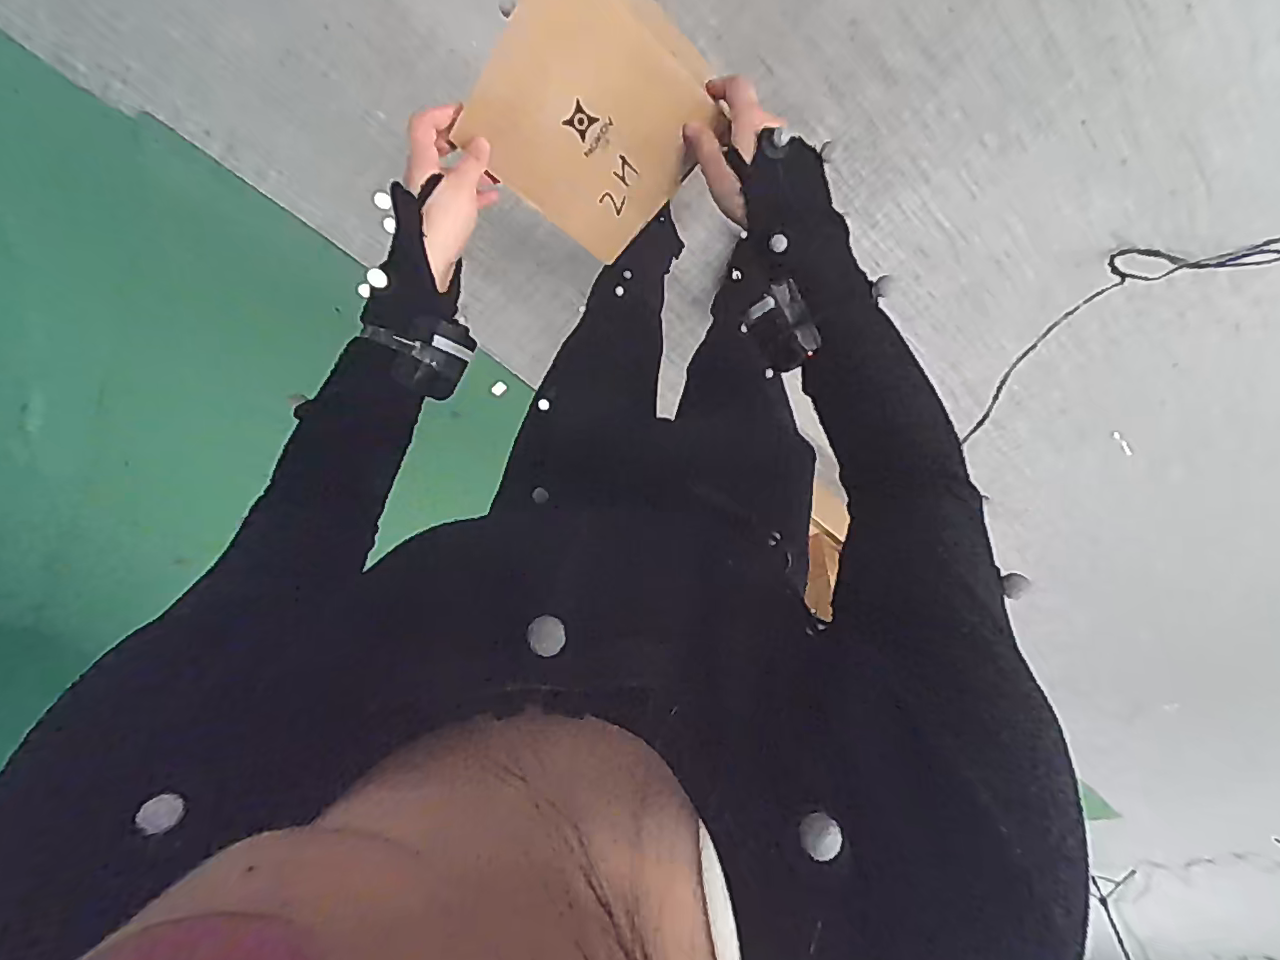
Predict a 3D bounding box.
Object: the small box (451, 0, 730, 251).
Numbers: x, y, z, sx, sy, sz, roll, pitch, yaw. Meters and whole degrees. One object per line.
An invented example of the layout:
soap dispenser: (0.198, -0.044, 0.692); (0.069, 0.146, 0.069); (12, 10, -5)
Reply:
small box: (-0.042, -0.362, 0.502); (0.179, 0.176, 0.168); (30, 130, -29)
